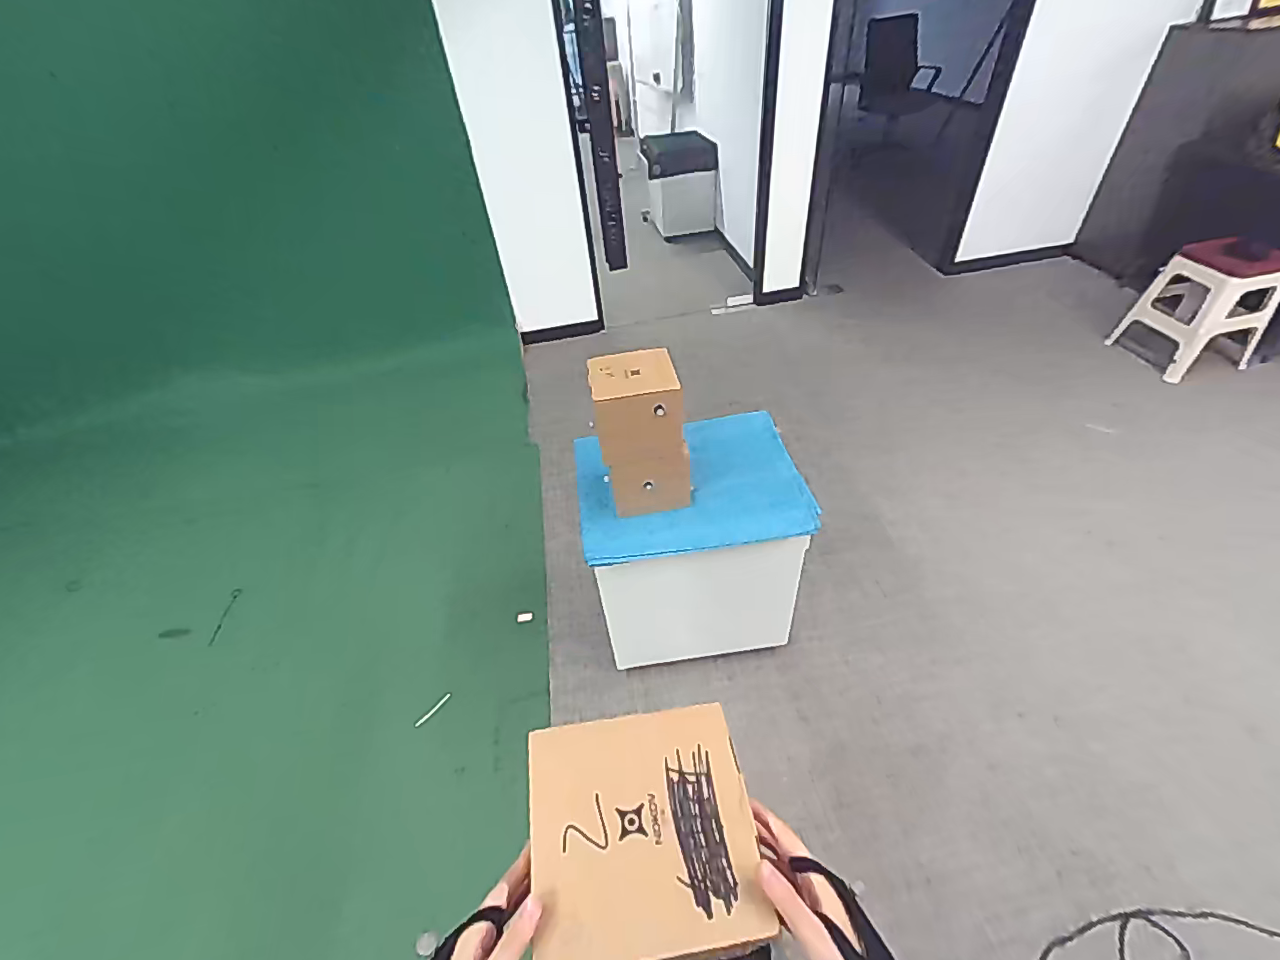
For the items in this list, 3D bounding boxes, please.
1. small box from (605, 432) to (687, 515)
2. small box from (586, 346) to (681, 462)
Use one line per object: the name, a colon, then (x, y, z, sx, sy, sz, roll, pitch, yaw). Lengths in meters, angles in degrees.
small box: (0.009, -0.041, 1.249, 0.179, 0.176, 0.168, -9, 43, -3)
small box: (-0.013, -0.159, 1.136, 0.179, 0.176, 0.168, -9, 42, -3)
